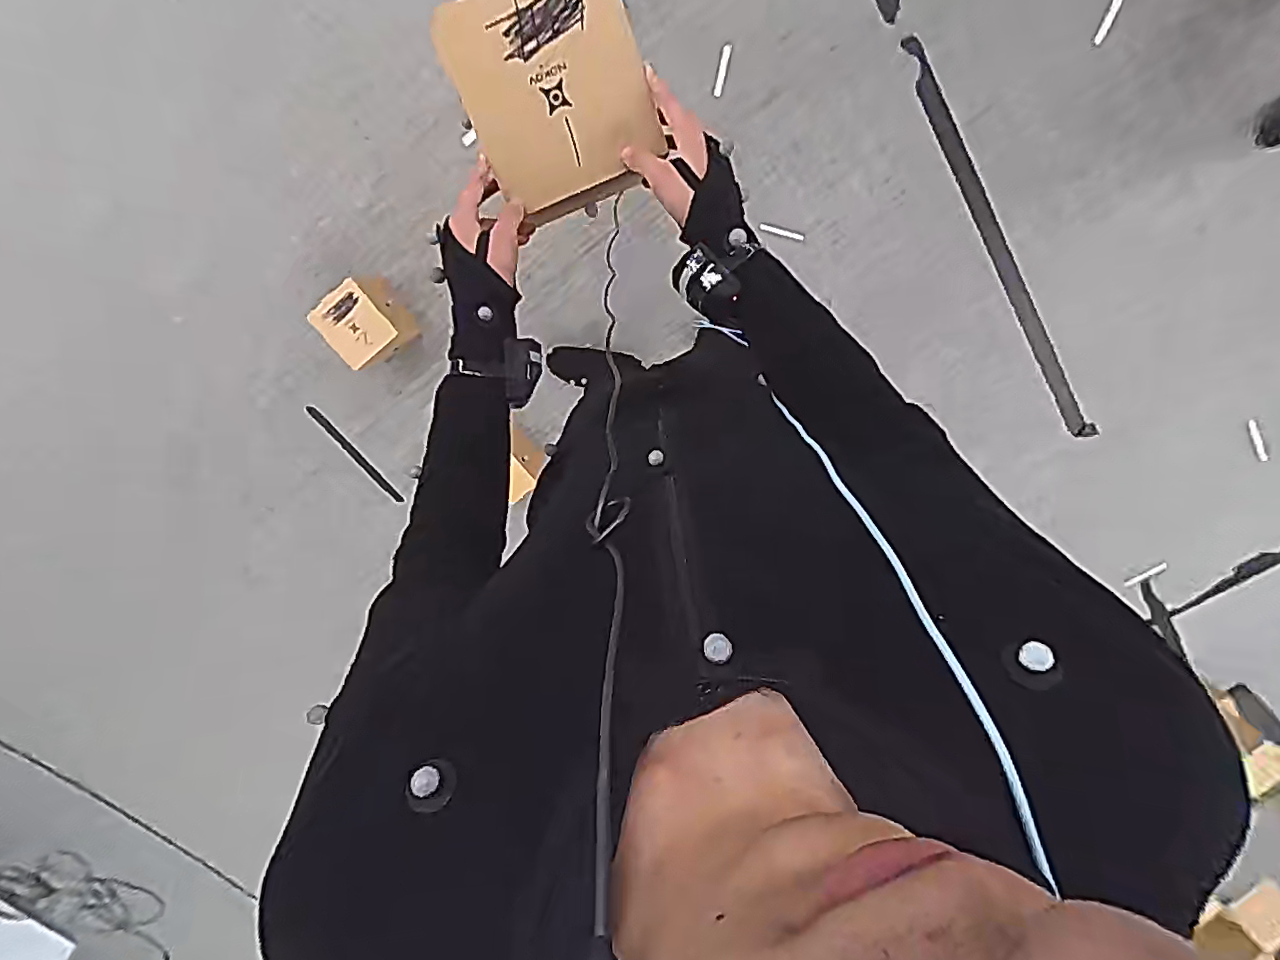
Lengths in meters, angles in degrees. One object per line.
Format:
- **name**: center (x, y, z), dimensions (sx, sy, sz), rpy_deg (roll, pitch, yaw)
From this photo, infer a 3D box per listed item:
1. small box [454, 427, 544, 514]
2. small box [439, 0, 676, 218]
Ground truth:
- **small box**: center (-0.409, -0.038, 1.596), dimensions (0.168, 0.176, 0.179), rpy_deg (-35, 108, 13)
- **small box**: center (-0.075, -0.390, 0.557), dimensions (0.168, 0.176, 0.179), rpy_deg (-19, 114, 4)
